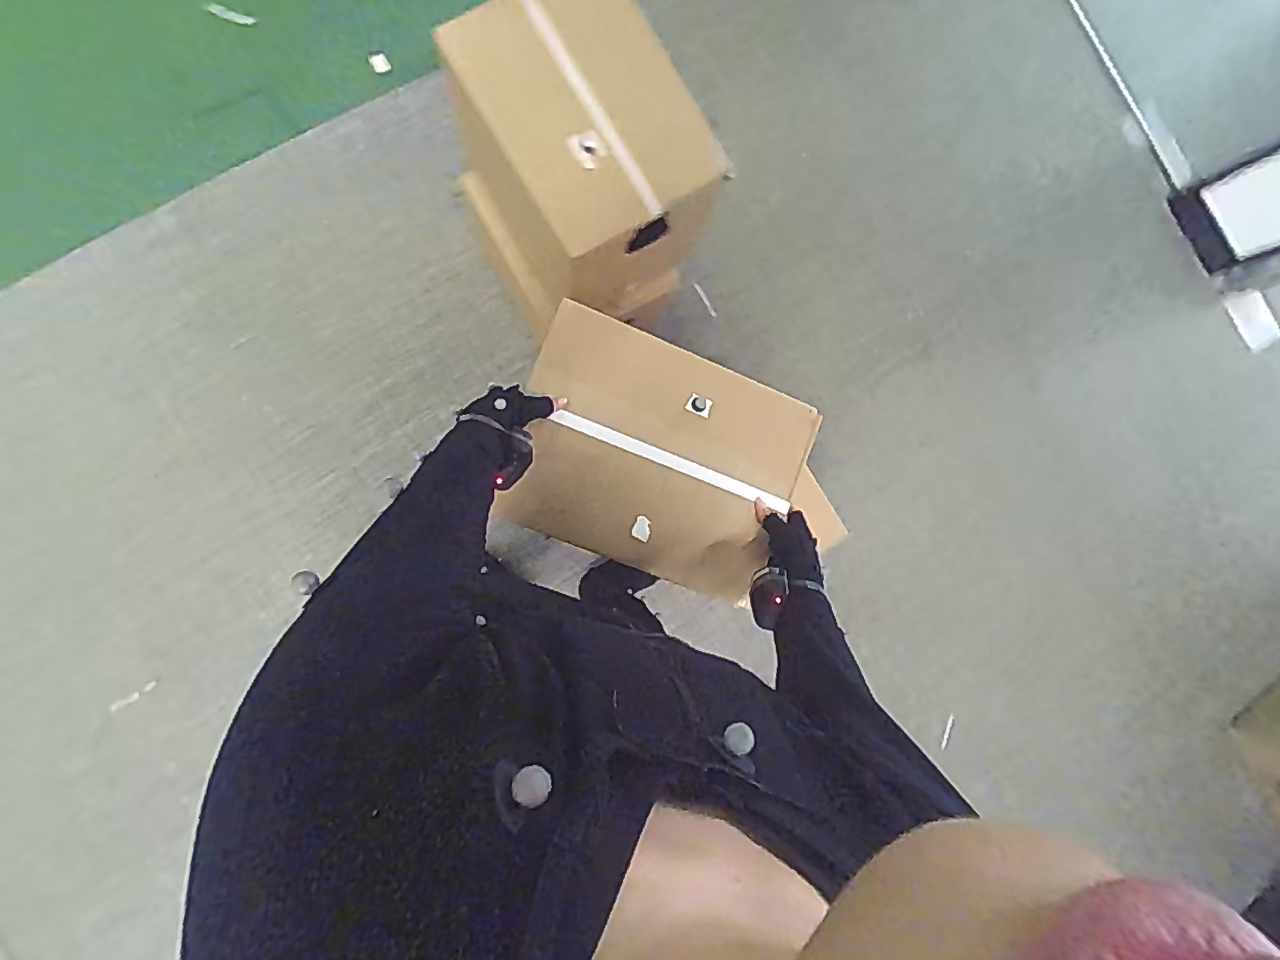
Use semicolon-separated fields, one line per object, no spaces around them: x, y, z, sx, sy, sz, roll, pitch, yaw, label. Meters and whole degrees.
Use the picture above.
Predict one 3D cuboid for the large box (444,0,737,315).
-0.096;-0.592;0.998;0.320;0.320;0.408;-32;94;-9;large box
